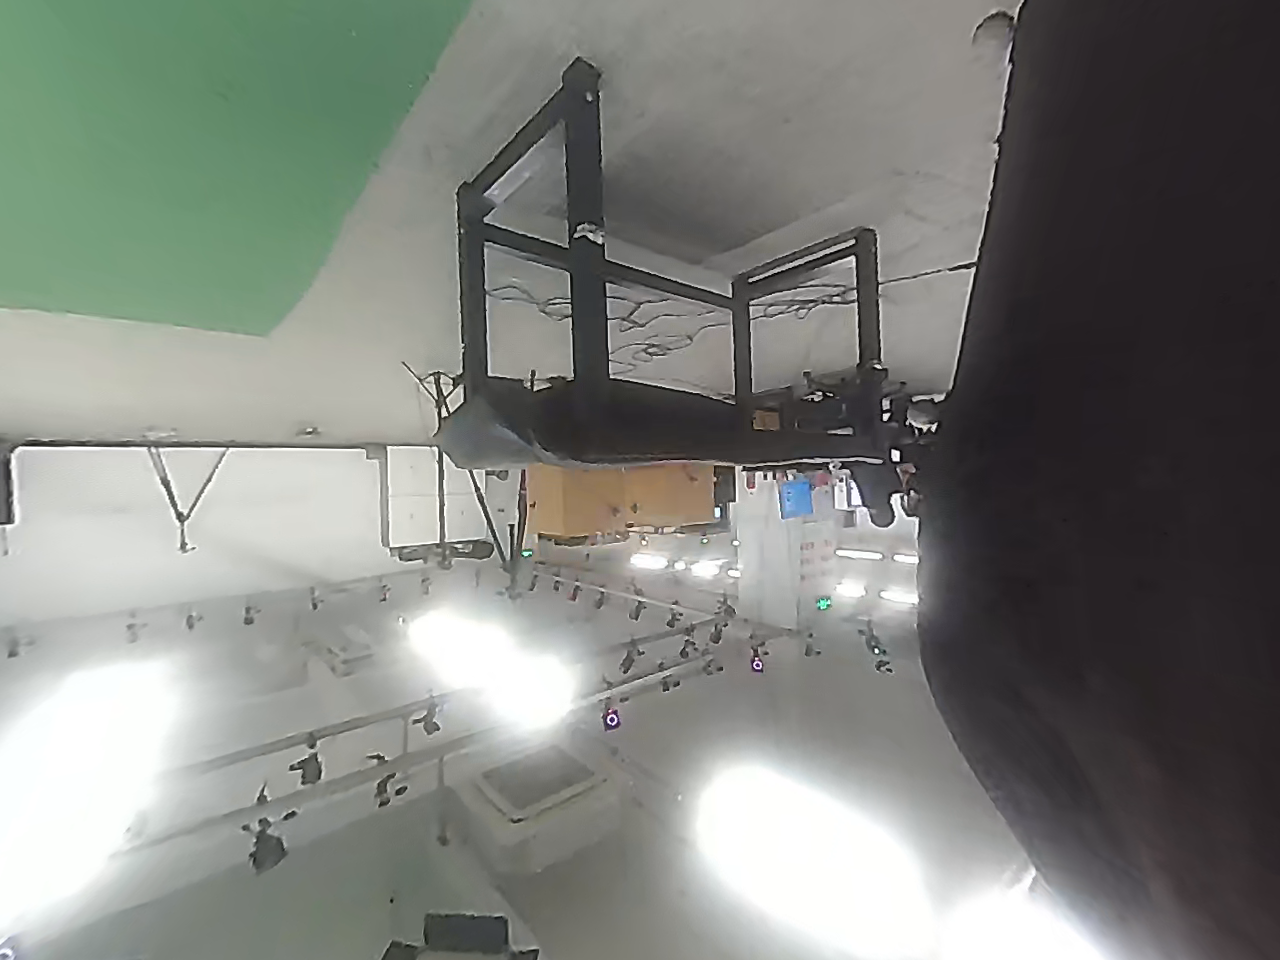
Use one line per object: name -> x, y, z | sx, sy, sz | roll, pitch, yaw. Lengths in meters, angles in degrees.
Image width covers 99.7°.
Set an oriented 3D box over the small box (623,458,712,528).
small box -> 0.072, 0.032, 1.416 | 0.168, 0.176, 0.179 | -3, -179, -40
